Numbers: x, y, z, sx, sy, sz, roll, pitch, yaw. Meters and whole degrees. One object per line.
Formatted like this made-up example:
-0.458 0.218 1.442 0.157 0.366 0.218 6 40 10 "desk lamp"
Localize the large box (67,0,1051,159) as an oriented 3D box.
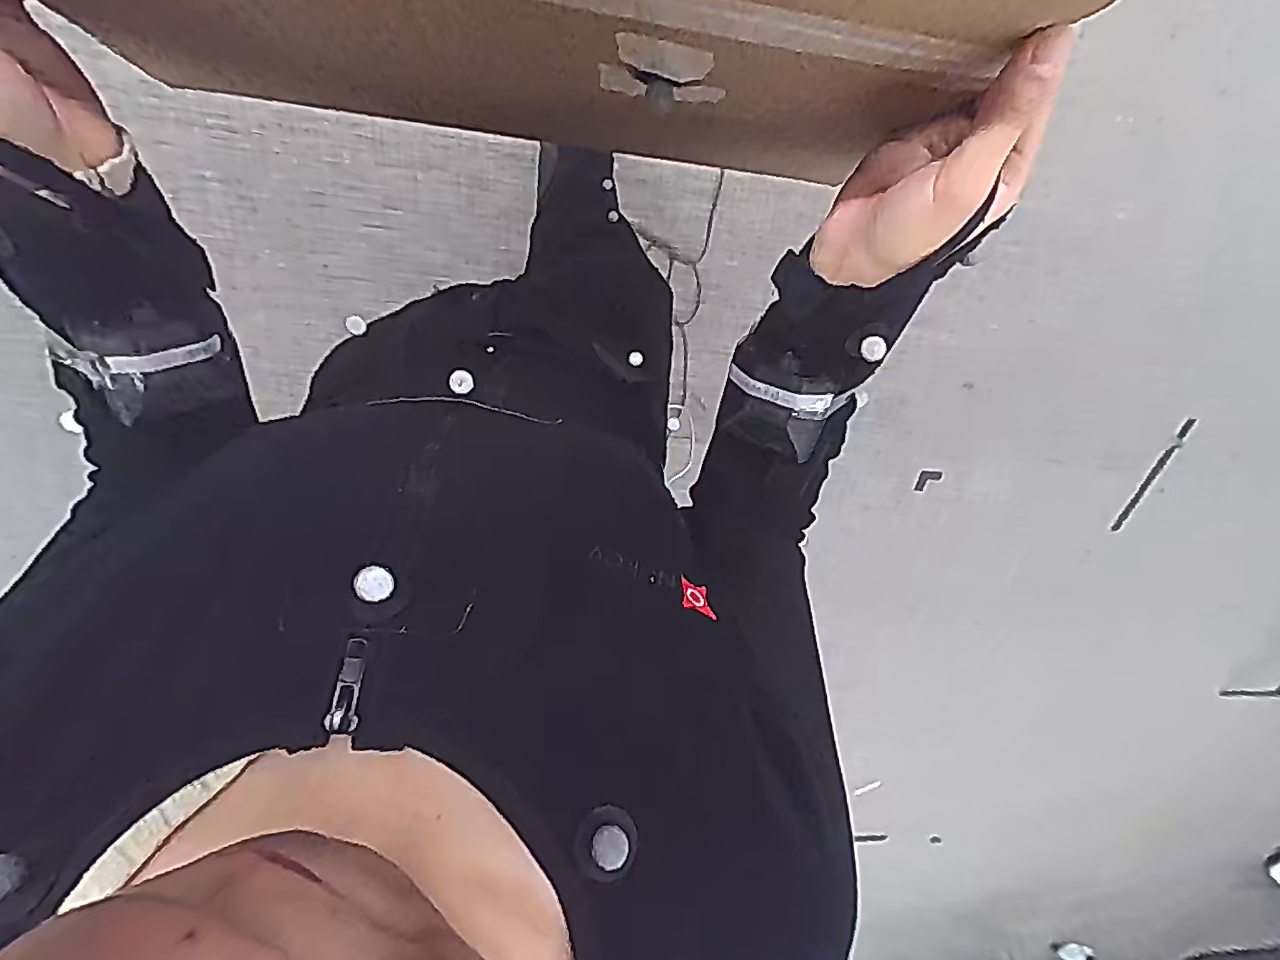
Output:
-0.040 -0.338 0.158 0.408 0.320 0.320 3 103 -7 "large box"
